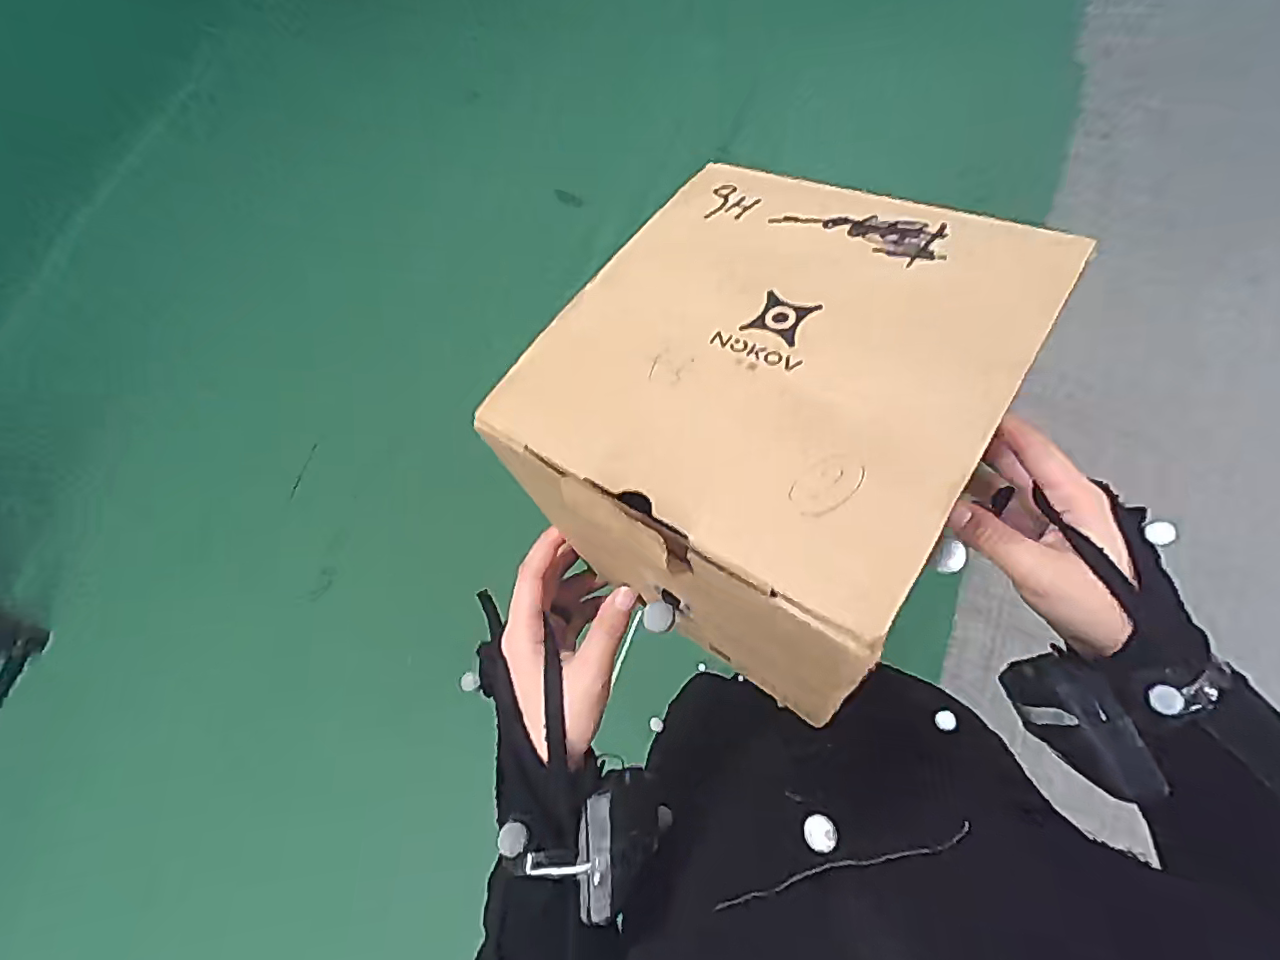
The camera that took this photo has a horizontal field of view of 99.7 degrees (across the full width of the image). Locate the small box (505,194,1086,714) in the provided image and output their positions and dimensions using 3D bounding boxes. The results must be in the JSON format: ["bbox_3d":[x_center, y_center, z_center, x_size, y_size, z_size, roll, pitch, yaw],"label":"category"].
[{"bbox_3d":[0.071,-0.005,0.281,0.168,0.176,0.179,30,71,26],"label":"small box"}]
